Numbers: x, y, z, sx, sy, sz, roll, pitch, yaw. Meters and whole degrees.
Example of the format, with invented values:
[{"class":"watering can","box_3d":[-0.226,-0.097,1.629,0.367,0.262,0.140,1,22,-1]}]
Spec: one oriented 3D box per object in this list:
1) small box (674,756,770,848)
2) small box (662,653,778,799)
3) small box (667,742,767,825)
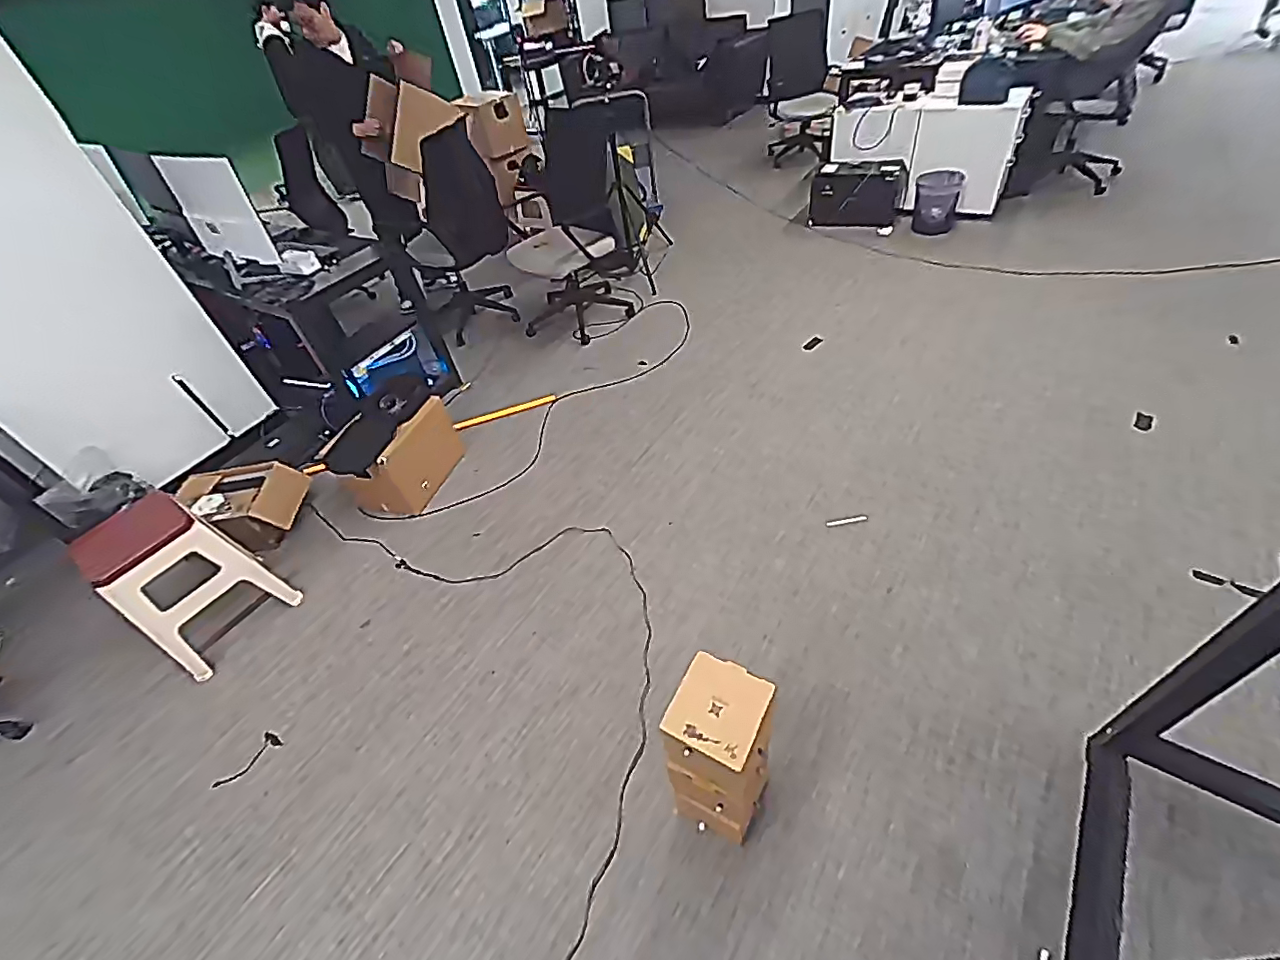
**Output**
[{"class":"small box","box_3d":[0.197,0.728,1.283,0.168,0.176,0.179,17,52,27]},{"class":"small box","box_3d":[0.159,0.485,1.067,0.168,0.176,0.179,18,50,27]},{"class":"small box","box_3d":[0.176,0.609,1.175,0.168,0.176,0.179,15,49,24]}]
